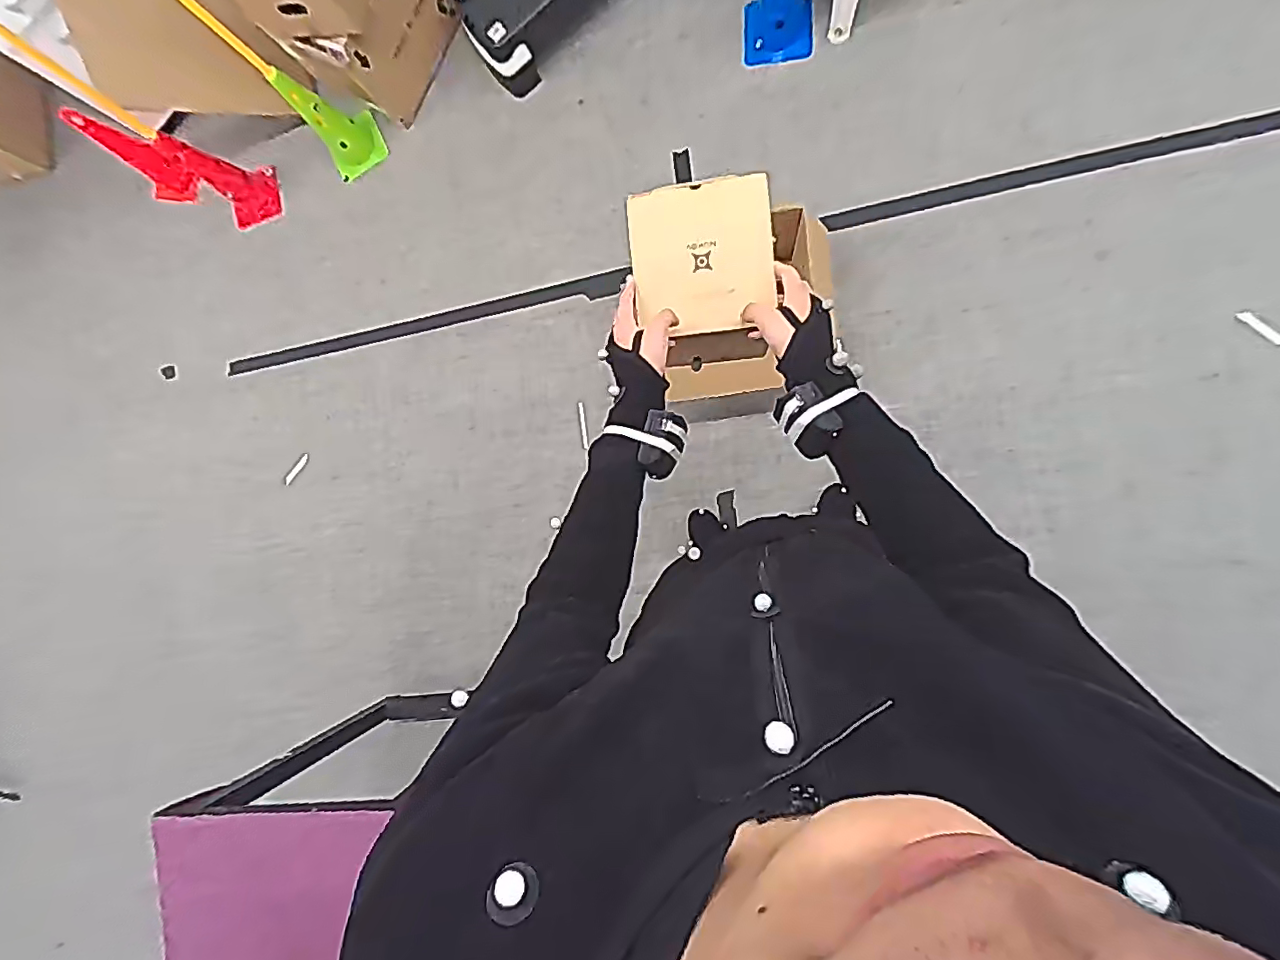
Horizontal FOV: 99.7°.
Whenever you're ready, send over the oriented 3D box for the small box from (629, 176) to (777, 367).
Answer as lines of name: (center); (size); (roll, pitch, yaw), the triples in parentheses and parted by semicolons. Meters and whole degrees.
small box: (0.082, -0.260, 0.711); (0.168, 0.176, 0.179); (-5, 89, 8)
